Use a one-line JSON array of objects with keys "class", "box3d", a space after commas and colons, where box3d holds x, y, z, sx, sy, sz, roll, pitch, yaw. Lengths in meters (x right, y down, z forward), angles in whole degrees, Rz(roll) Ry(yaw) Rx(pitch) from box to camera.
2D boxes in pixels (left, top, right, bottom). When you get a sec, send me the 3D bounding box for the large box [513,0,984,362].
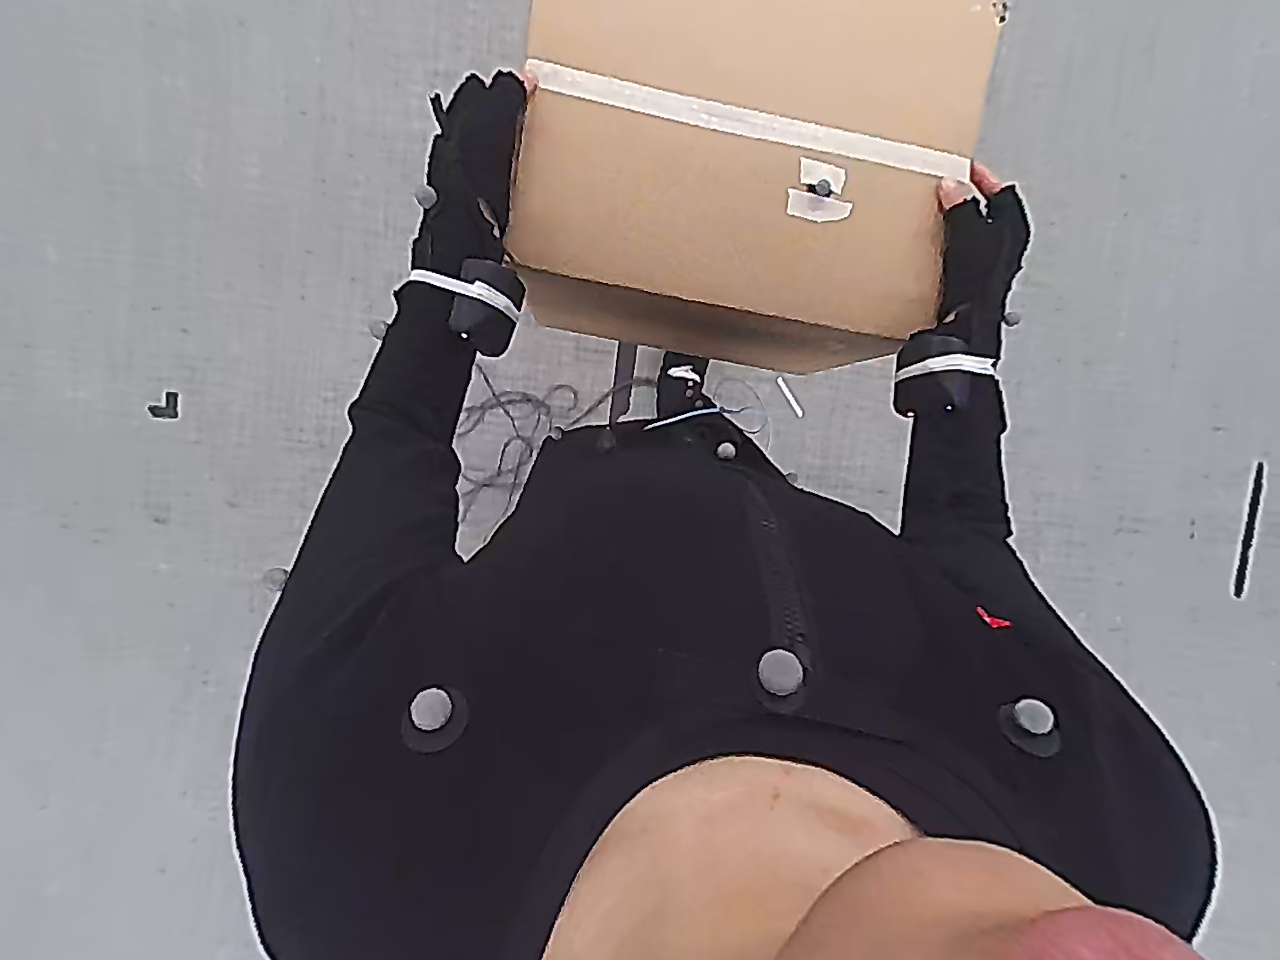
[{"class": "large box", "box3d": [0.087, -0.339, 0.639, 0.408, 0.320, 0.320, 9, 96, -6]}]
